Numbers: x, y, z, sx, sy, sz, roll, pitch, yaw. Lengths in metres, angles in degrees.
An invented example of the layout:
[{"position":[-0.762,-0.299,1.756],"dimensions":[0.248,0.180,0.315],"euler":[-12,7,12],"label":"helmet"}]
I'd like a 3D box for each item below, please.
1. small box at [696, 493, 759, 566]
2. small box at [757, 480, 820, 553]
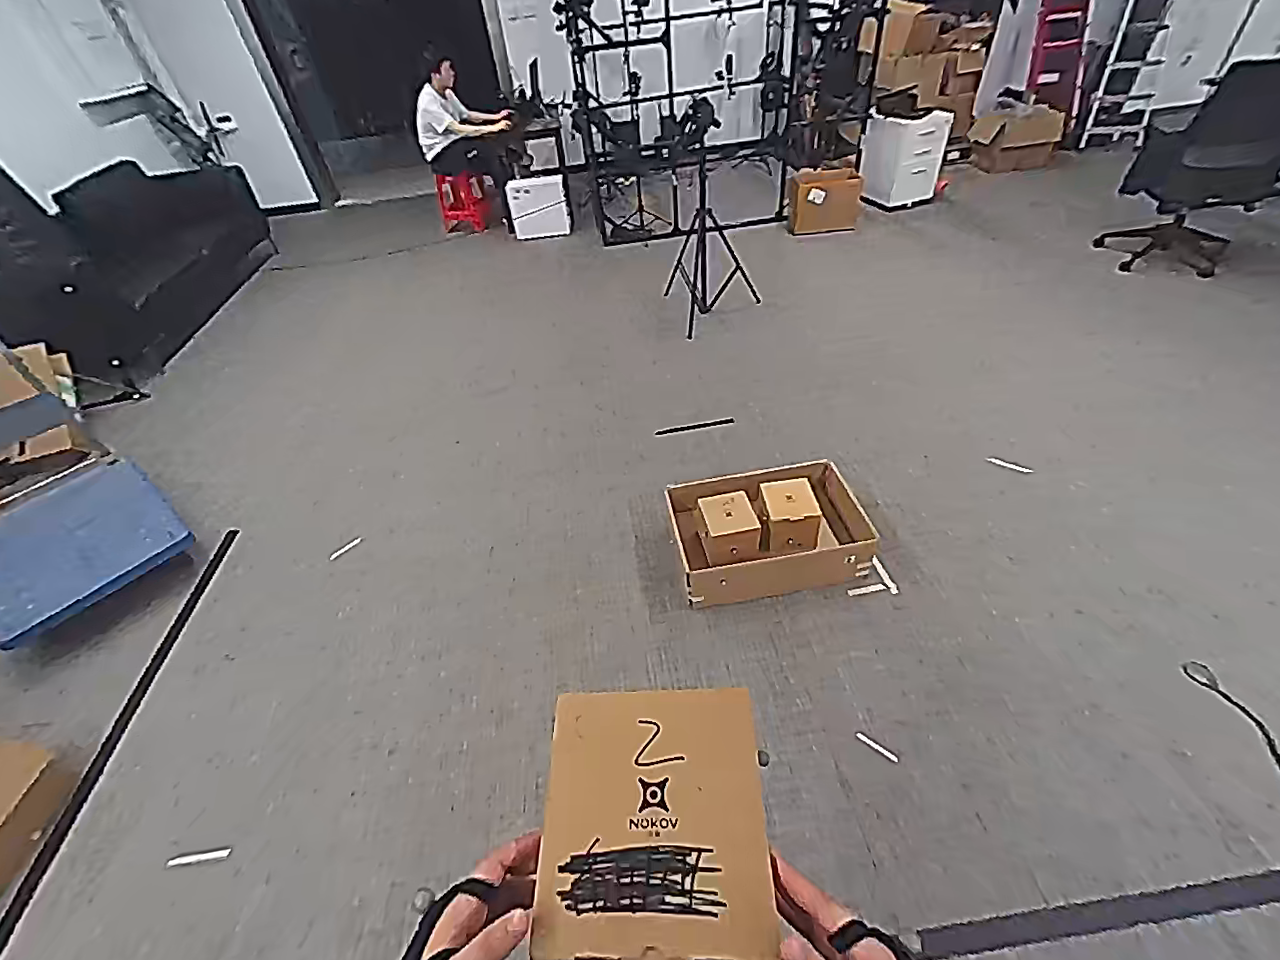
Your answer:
[{"position":[0.292,0.174,1.826],"dimensions":[0.168,0.176,0.179],"euler":[-10,43,-5],"label":"small box"},{"position":[0.503,0.126,1.853],"dimensions":[0.168,0.176,0.179],"euler":[-7,43,1],"label":"small box"}]
